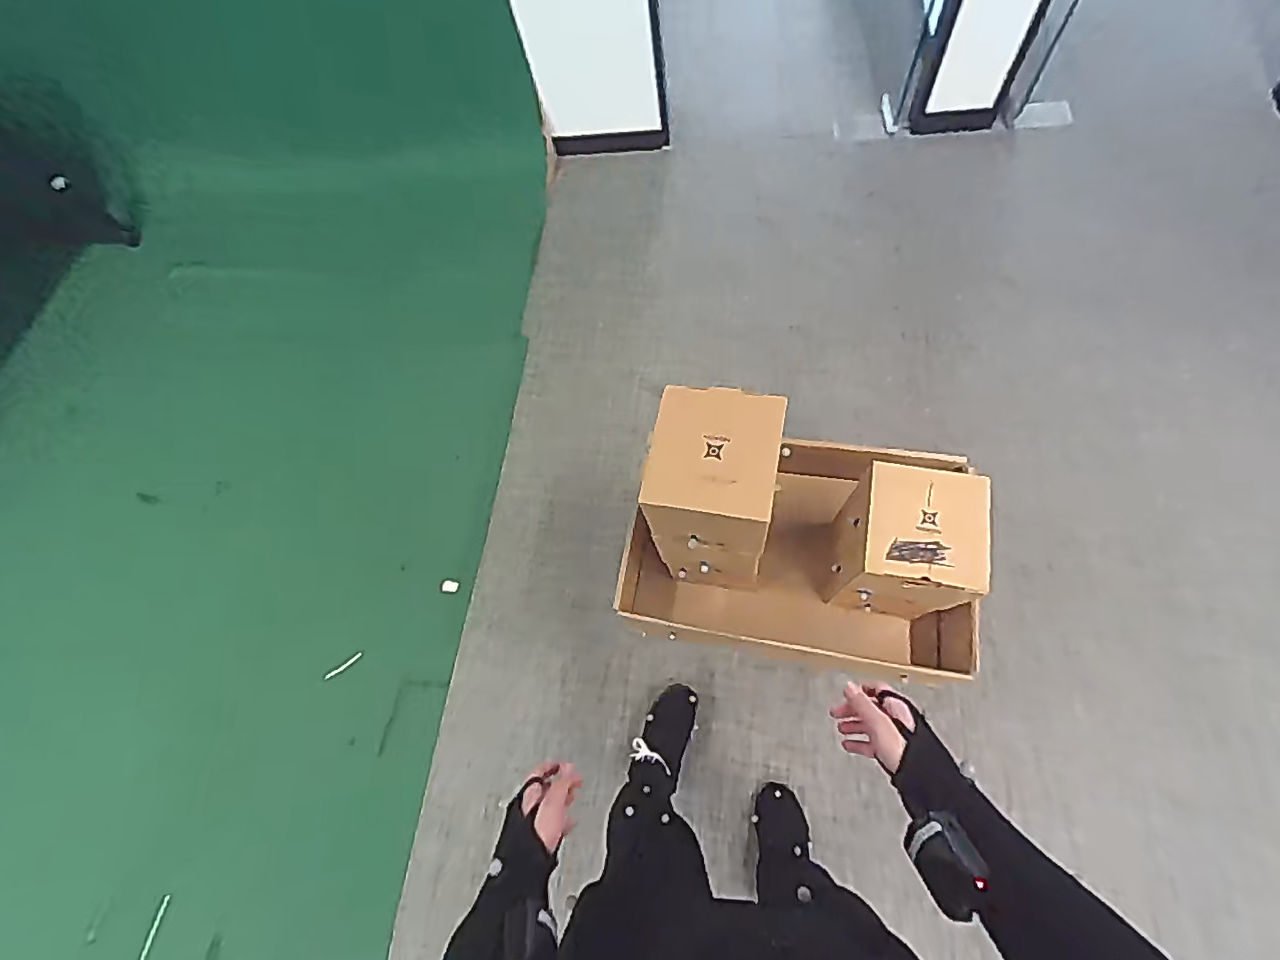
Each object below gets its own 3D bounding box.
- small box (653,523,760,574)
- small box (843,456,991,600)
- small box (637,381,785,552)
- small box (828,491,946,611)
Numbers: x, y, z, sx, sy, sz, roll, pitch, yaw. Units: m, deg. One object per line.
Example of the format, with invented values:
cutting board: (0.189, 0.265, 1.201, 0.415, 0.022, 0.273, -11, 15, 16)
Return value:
small box: (0.127, 0.044, 0.910, 0.168, 0.176, 0.179, 9, 71, 13)
small box: (0.424, 0.082, 0.848, 0.168, 0.176, 0.179, 8, 71, 12)
small box: (0.103, -0.014, 0.759, 0.168, 0.176, 0.179, 8, 70, 13)
small box: (0.451, 0.134, 1.002, 0.168, 0.176, 0.179, 7, 71, 11)
